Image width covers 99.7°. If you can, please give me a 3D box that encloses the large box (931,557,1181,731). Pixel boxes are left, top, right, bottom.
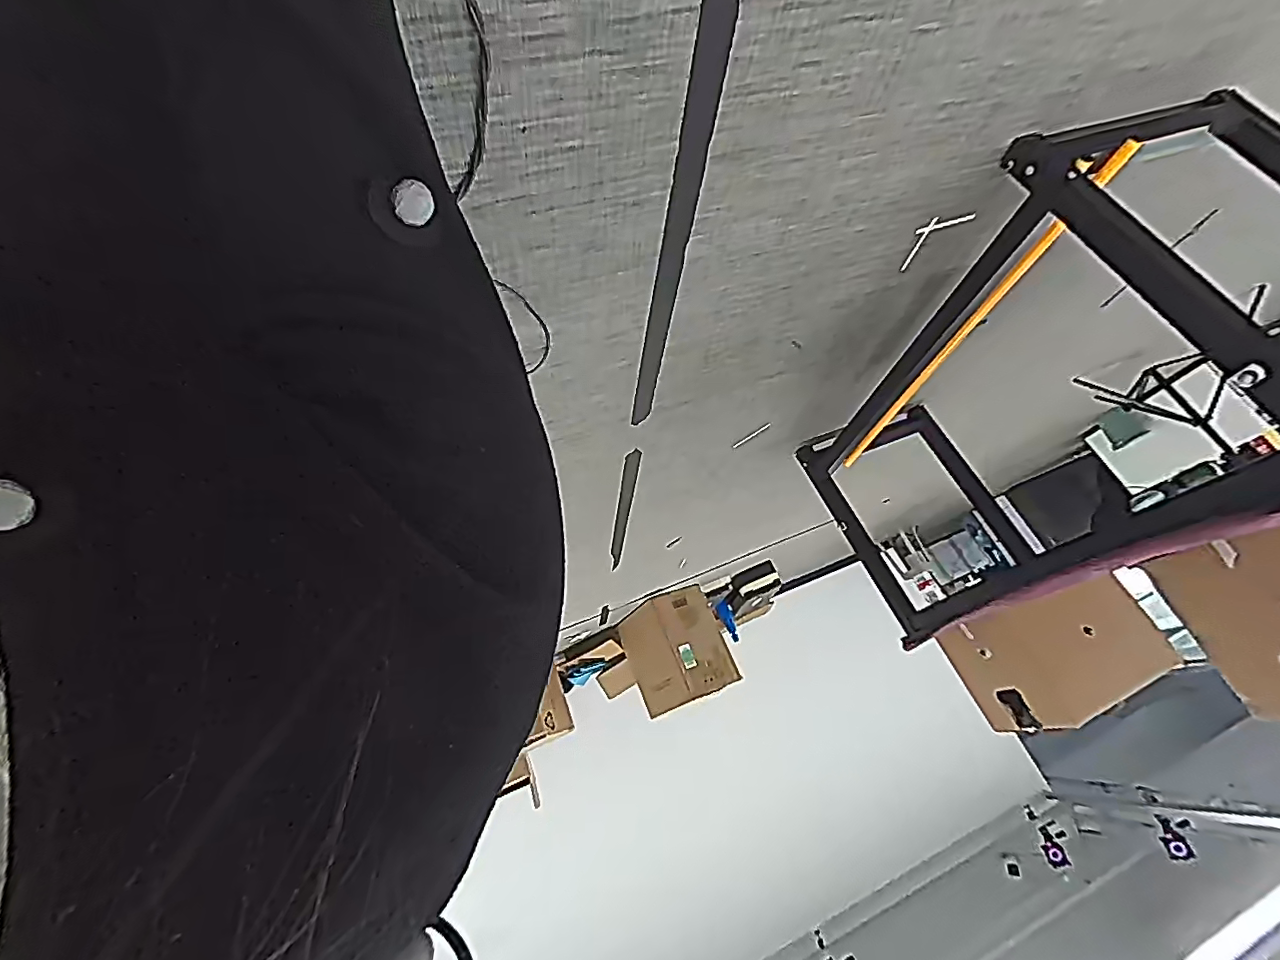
[{"bbox_3d":[1.148,0.469,1.540,0.408,0.320,0.320,-20,158,-14],"label":"large box"}]
